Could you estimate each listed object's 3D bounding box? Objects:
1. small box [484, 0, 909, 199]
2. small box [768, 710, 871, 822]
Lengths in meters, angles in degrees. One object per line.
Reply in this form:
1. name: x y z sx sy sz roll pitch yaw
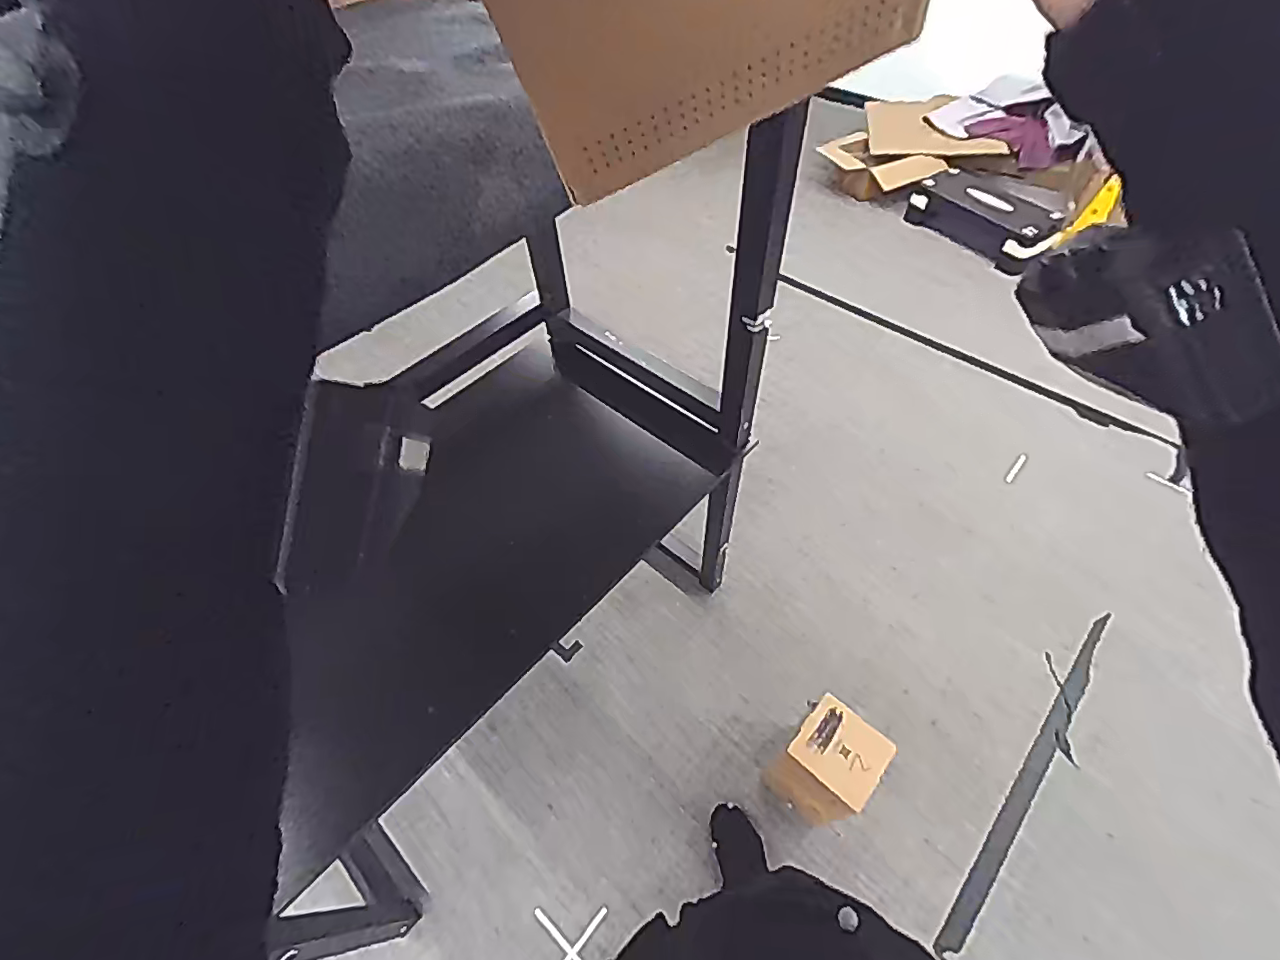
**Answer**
1. small box: 0.007 -0.257 0.207 0.179 0.176 0.168 -23 71 8
2. small box: 0.434 0.710 1.339 0.168 0.176 0.179 34 64 24
